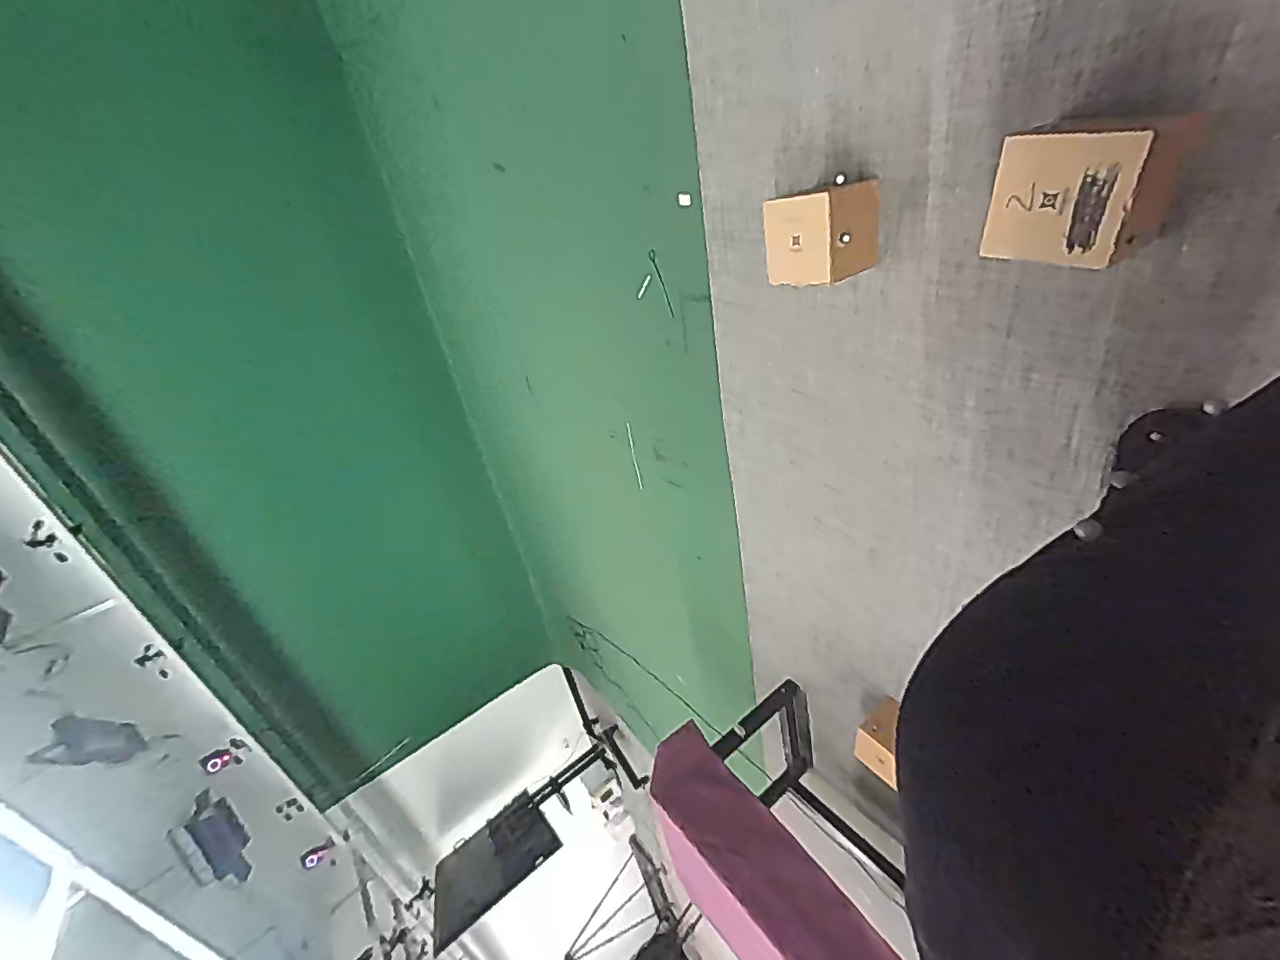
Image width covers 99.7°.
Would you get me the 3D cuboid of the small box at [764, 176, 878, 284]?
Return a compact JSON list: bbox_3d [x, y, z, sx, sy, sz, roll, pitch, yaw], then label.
[{"bbox_3d":[0.392,-0.536,1.164,0.168,0.176,0.179,26,137,49],"label":"small box"}]
